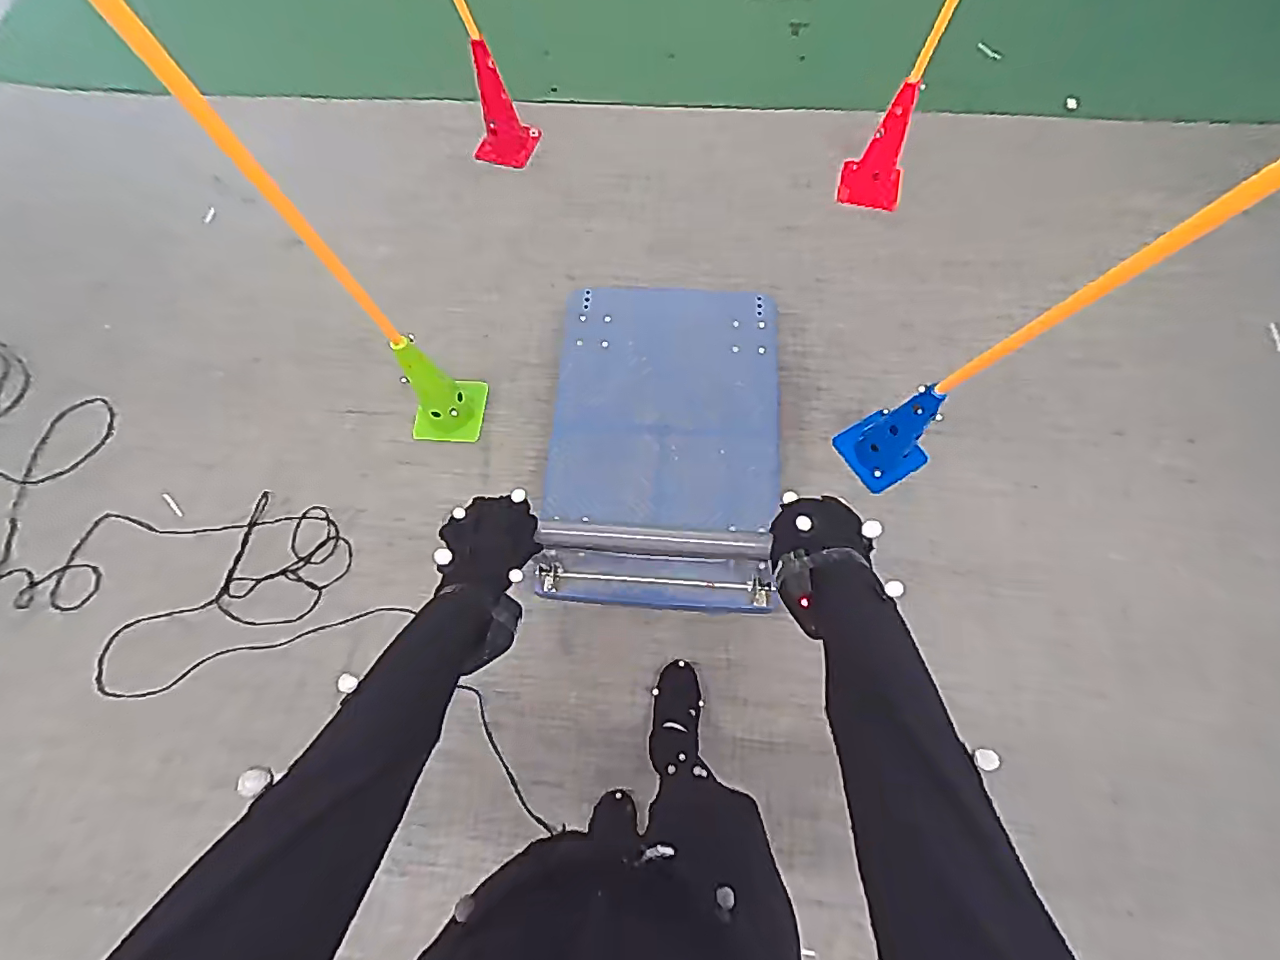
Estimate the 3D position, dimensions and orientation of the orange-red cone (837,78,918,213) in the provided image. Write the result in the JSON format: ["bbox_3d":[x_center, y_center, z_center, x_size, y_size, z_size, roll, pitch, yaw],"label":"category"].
[{"bbox_3d":[0.771,-1.050,1.674,0.198,0.360,0.199,15,72,9],"label":"orange-red cone"}]
